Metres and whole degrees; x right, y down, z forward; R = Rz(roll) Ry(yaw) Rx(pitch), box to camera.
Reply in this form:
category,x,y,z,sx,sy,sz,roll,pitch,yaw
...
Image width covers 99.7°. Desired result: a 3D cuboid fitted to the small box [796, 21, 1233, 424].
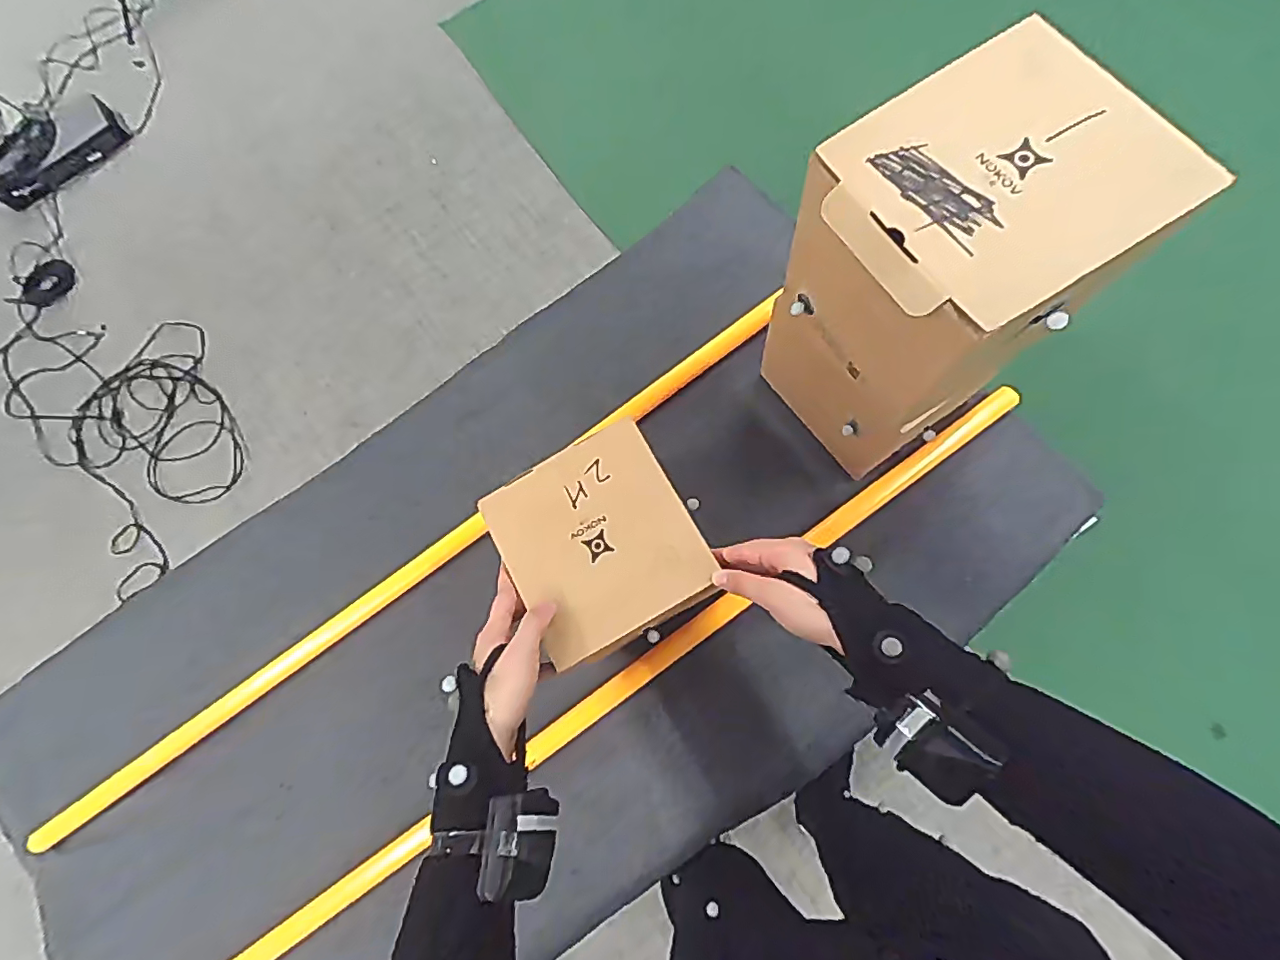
category,x,y,z,sx,sy,sz,roll,pitch,yaw
small box,0.235,-0.167,0.403,0.179,0.176,0.168,-31,75,-1
